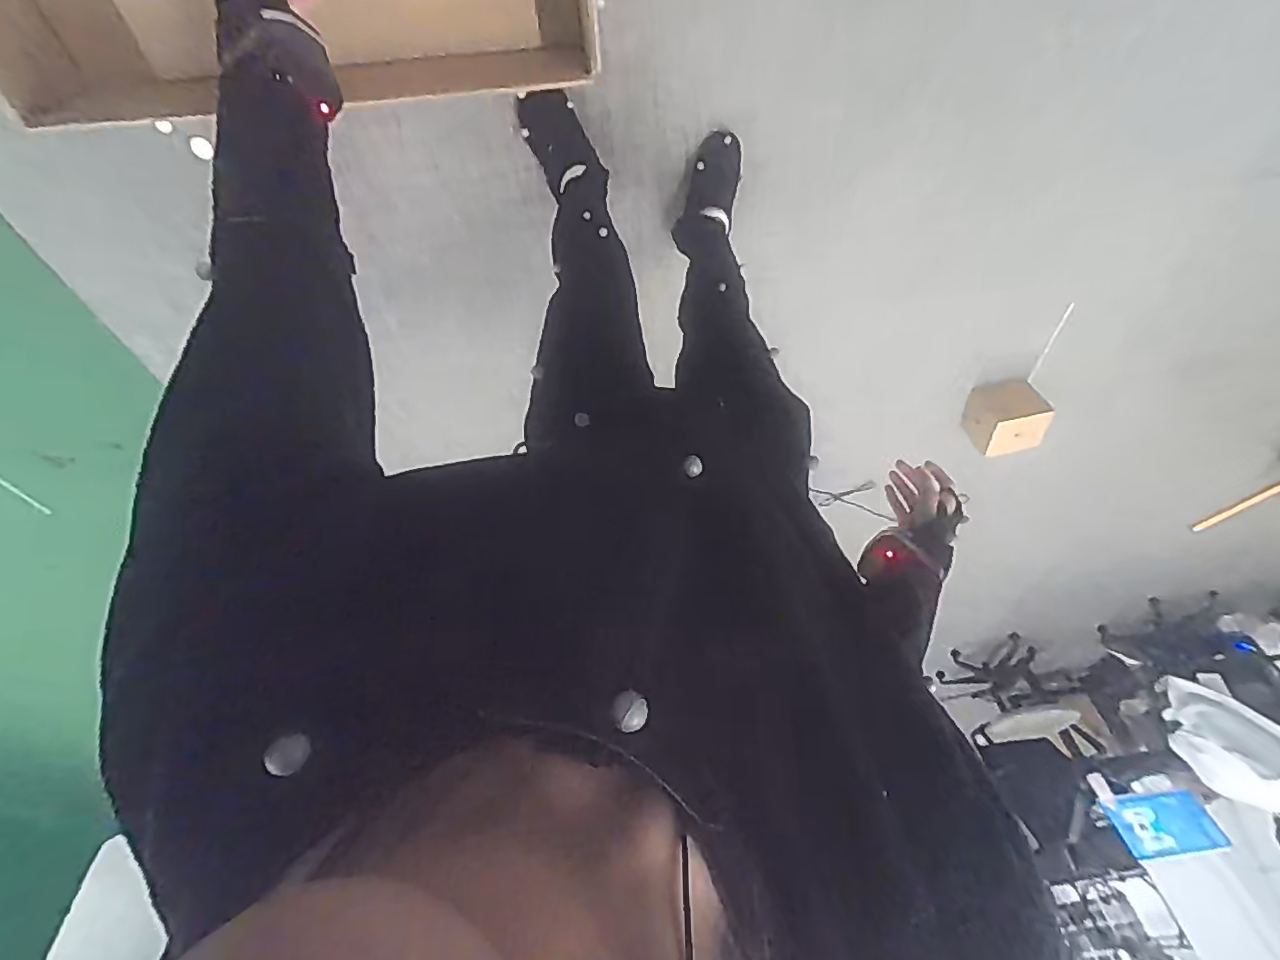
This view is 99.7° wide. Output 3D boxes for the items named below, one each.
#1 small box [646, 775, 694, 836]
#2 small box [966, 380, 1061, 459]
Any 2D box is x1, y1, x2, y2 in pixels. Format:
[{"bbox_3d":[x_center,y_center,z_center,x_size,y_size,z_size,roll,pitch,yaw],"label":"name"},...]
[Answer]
[{"bbox_3d":[0.113,1.274,2.125,0.168,0.176,0.179,-6,137,-3],"label":"small box"},{"bbox_3d":[1.202,-0.199,1.758,0.179,0.176,0.168,-13,138,4],"label":"small box"}]
